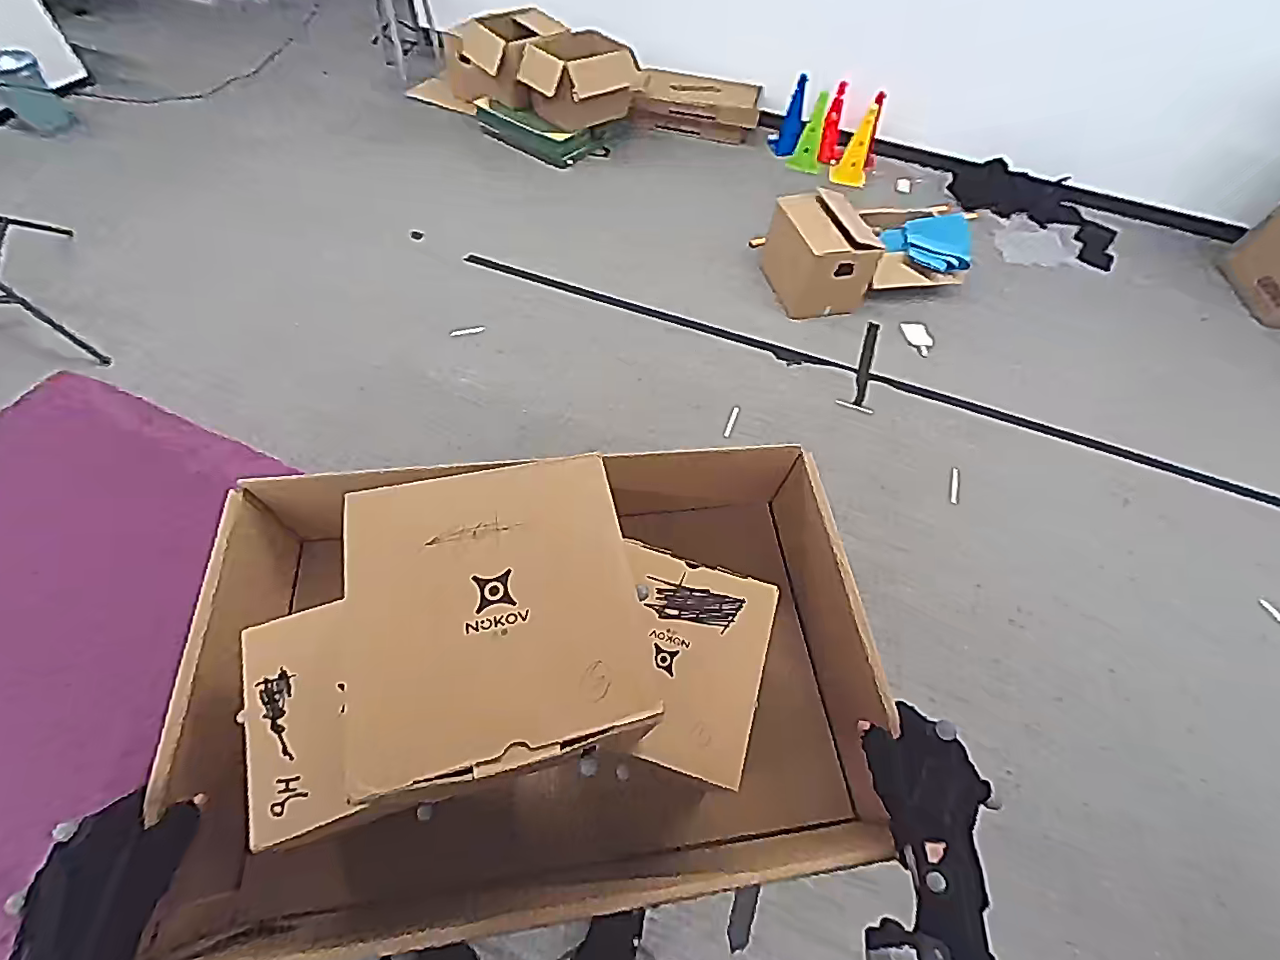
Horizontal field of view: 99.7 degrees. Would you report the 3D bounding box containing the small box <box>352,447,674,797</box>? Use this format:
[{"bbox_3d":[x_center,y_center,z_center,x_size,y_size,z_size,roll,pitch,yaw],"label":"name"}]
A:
[{"bbox_3d":[-0.086,0.104,0.381,0.168,0.176,0.179,-10,61,-13],"label":"small box"}]
